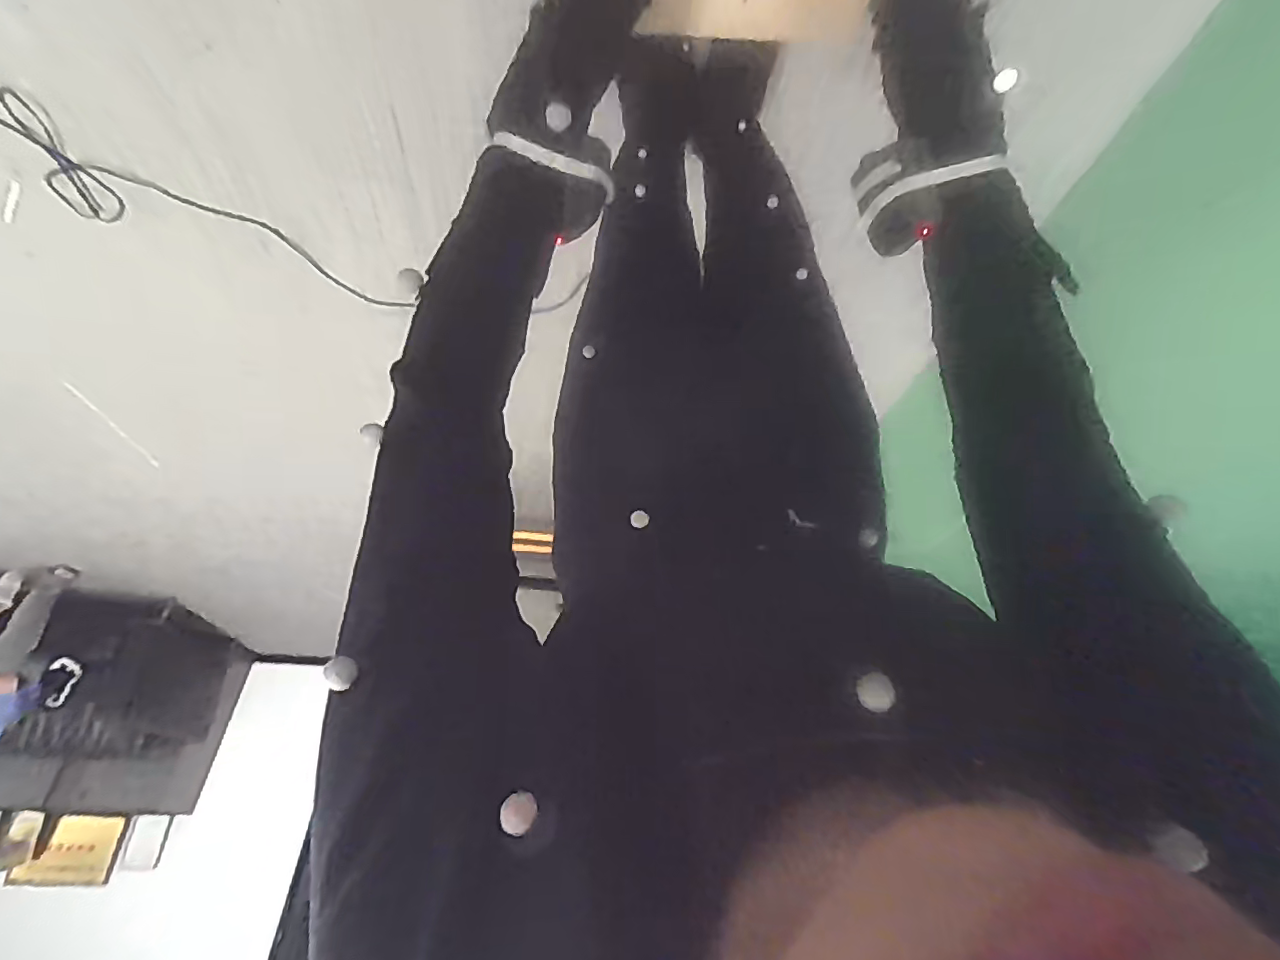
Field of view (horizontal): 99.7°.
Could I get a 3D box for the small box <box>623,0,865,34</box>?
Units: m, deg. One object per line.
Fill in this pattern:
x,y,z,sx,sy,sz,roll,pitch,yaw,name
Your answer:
0.073,-0.426,0.337,0.168,0.176,0.179,1,152,-2,small box
